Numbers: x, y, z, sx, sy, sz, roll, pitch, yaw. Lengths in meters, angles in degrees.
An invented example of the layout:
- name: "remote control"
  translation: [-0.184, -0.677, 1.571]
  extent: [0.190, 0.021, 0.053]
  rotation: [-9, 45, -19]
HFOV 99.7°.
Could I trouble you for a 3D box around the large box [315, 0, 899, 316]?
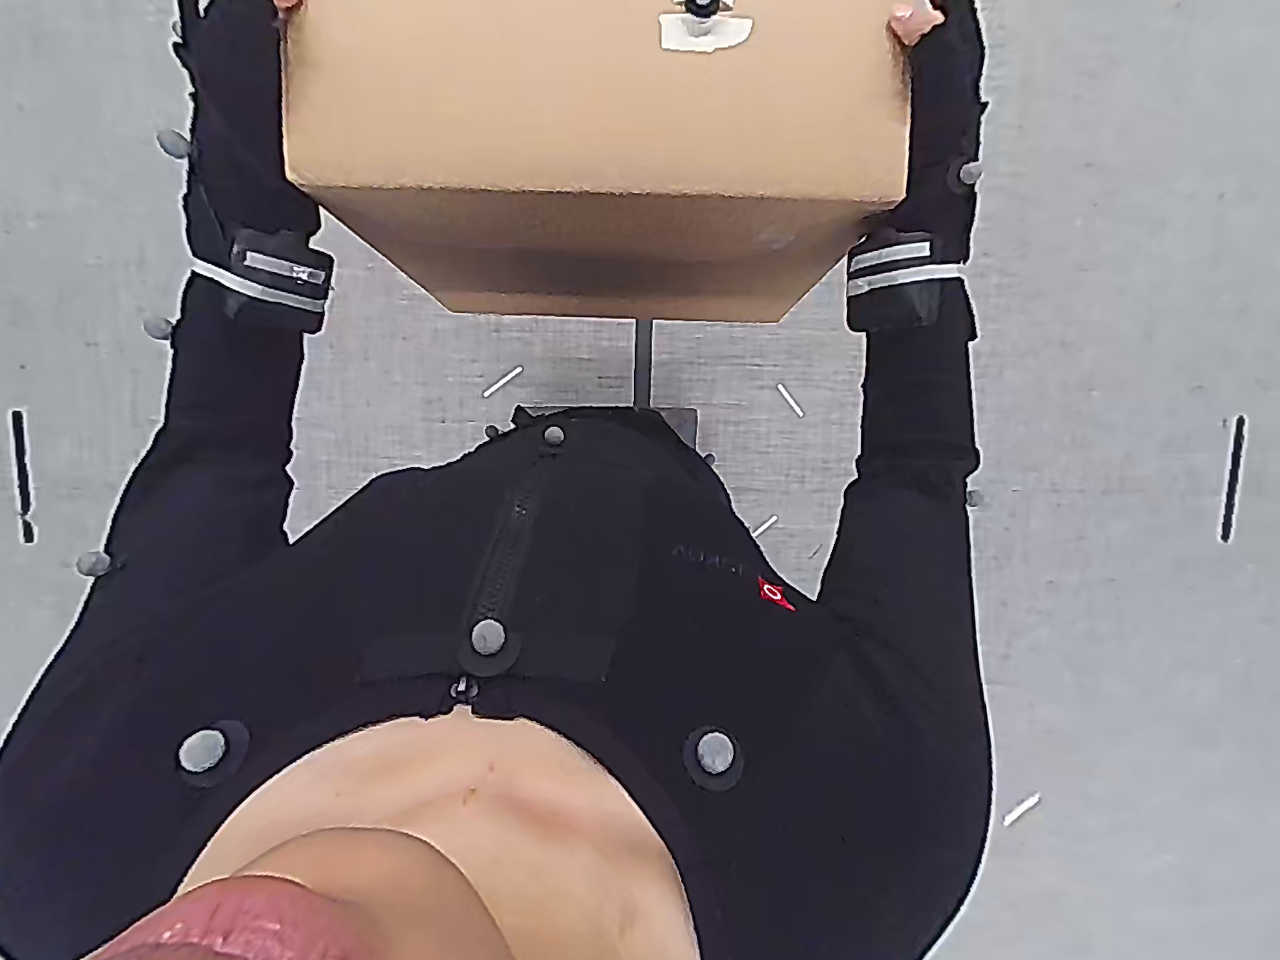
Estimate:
- name: "large box"
  translation: [-0.023, -0.353, 0.516]
  extent: [0.408, 0.320, 0.320]
  rotation: [1, 92, -1]
